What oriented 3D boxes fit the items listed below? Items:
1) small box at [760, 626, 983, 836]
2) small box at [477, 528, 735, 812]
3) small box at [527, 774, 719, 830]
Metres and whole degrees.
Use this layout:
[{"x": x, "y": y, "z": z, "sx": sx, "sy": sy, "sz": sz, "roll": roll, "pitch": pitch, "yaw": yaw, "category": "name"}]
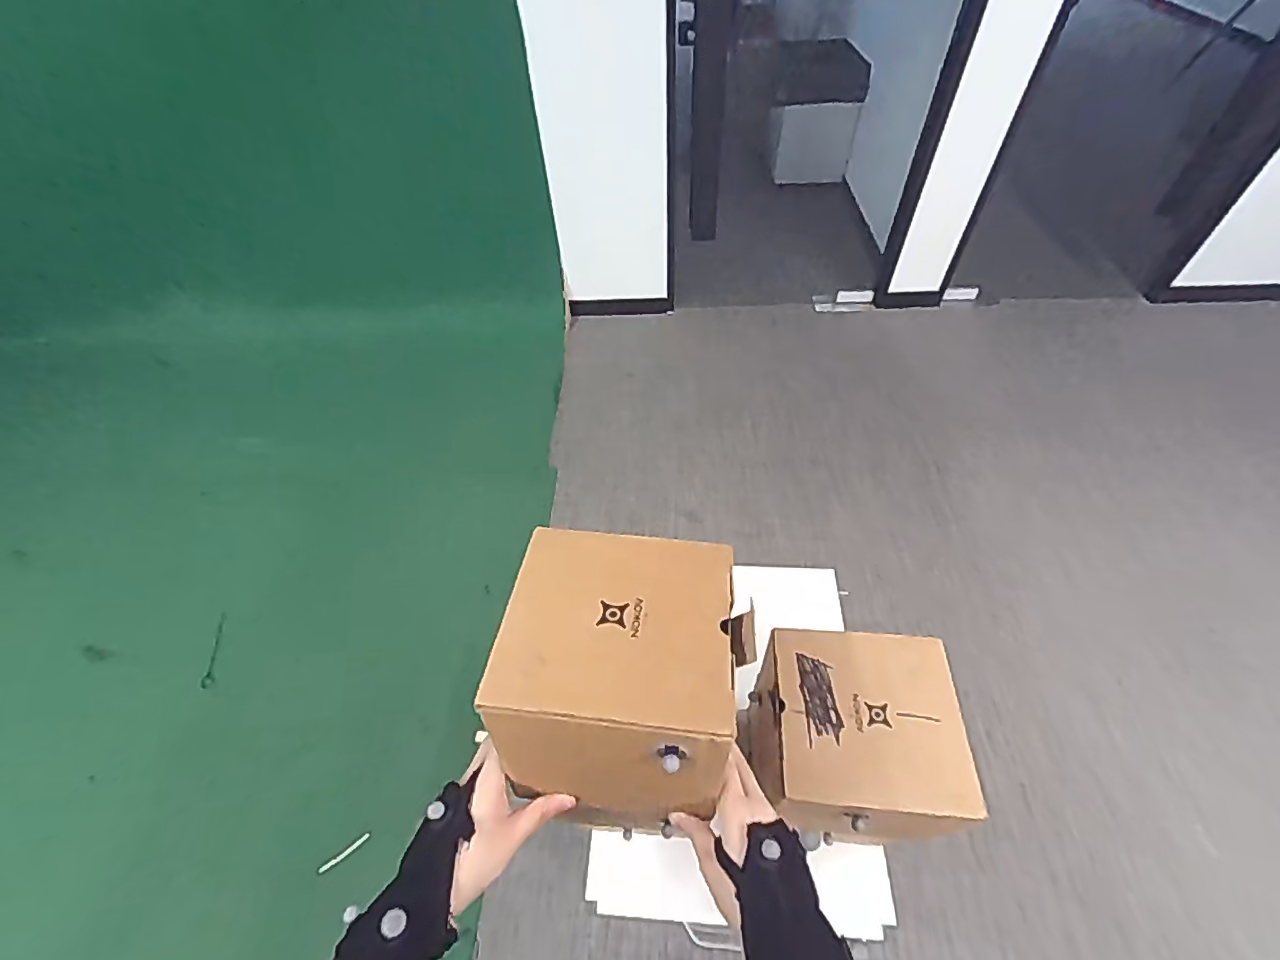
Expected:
[{"x": 0.225, "y": 0.275, "z": 0.587, "sx": 0.179, "sy": 0.176, "sz": 0.168, "roll": 3, "pitch": 52, "yaw": 6, "category": "small box"}, {"x": -0.016, "y": 0.163, "z": 0.466, "sx": 0.179, "sy": 0.176, "sz": 0.168, "roll": 5, "pitch": 42, "yaw": 4, "category": "small box"}, {"x": -0.010, "y": 0.278, "z": 0.598, "sx": 0.179, "sy": 0.176, "sz": 0.168, "roll": 1, "pitch": 50, "yaw": 3, "category": "small box"}]
